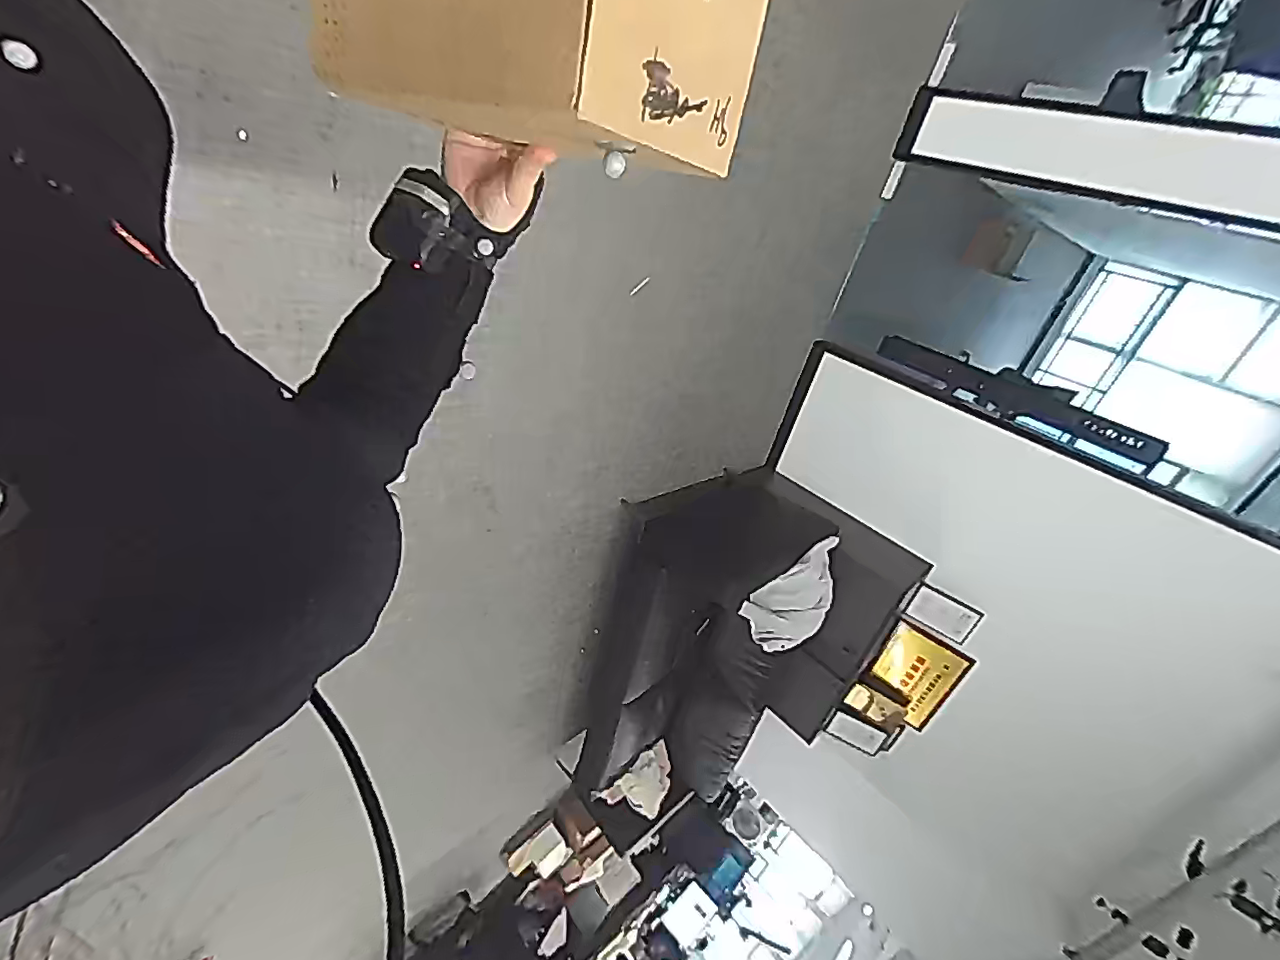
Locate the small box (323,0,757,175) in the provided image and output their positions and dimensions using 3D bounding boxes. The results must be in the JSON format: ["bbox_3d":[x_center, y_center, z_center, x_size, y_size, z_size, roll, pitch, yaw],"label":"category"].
[{"bbox_3d":[-0.043,-0.278,0.283,0.168,0.176,0.179,-33,139,-54],"label":"small box"}]
